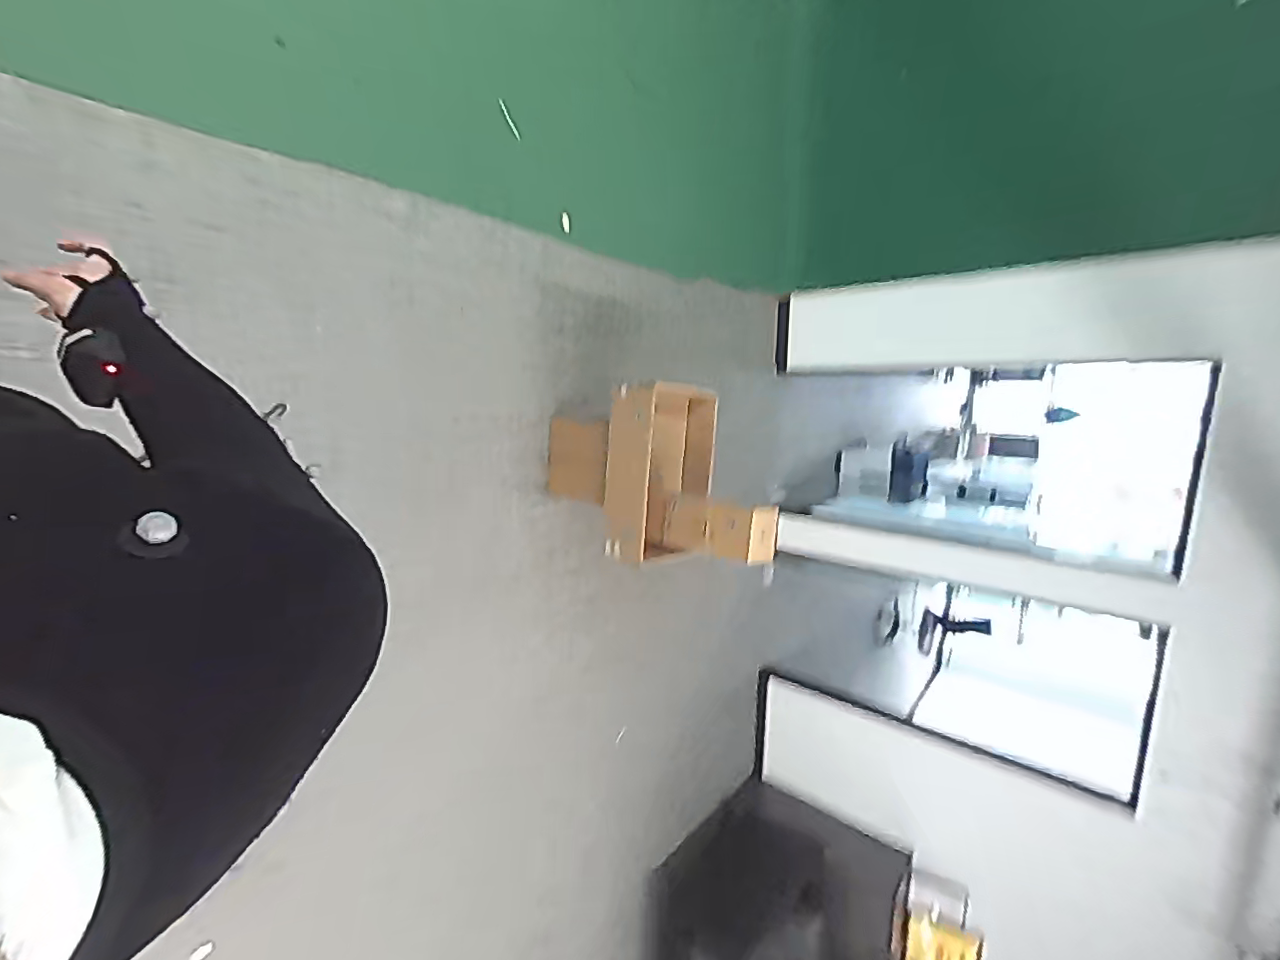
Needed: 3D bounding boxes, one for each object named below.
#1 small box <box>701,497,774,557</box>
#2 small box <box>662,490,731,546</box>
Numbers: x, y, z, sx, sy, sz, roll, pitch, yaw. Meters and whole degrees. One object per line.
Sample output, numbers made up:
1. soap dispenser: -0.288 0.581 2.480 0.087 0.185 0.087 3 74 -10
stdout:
1. small box: 0.316 0.149 1.755 0.179 0.176 0.168 2 95 -51
2. small box: 0.192 0.127 1.858 0.179 0.176 0.168 1 96 -51
